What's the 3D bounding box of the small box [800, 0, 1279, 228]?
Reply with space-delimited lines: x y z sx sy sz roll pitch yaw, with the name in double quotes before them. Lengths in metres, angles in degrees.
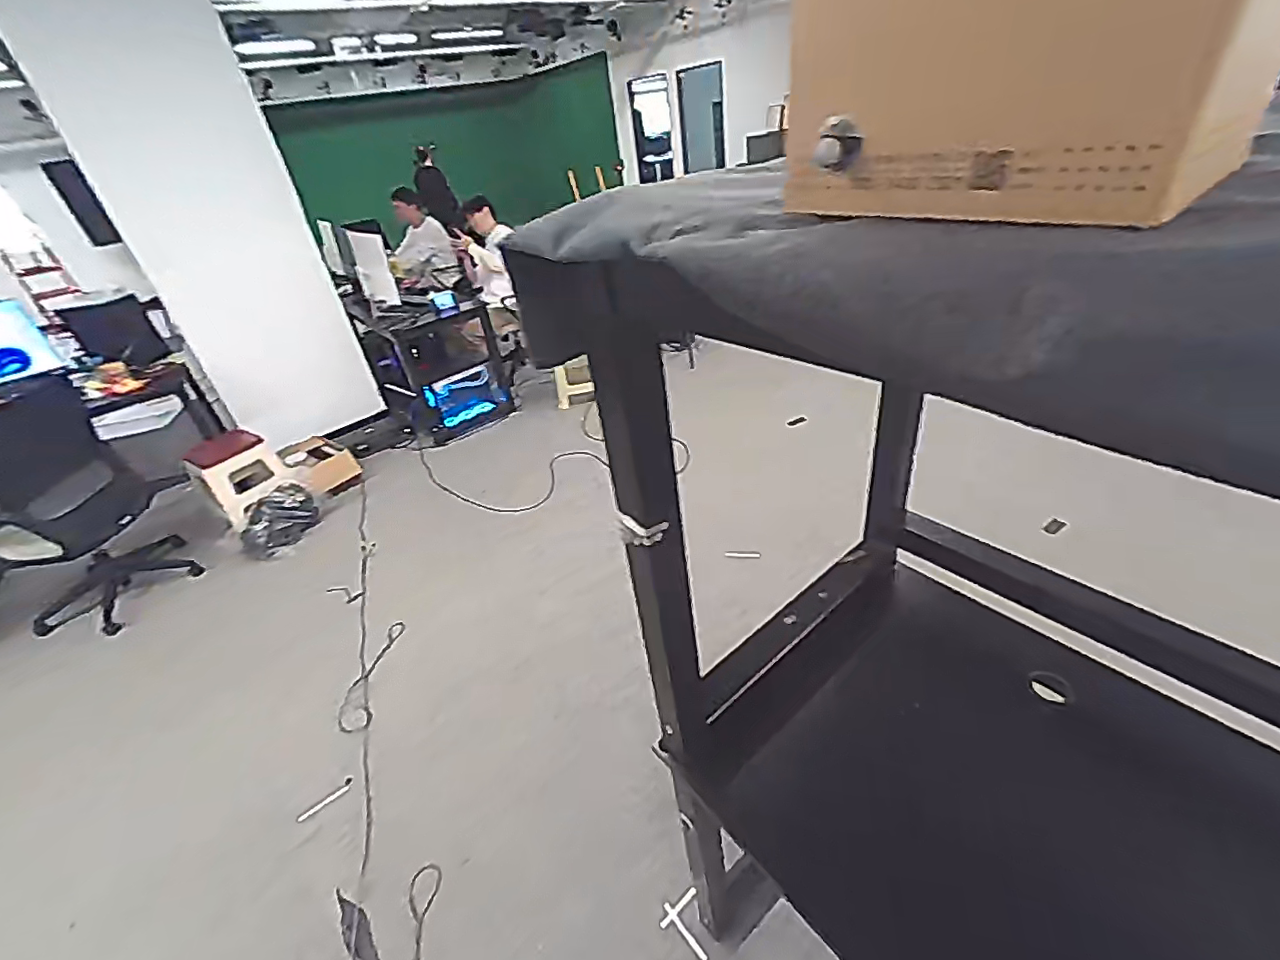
"small box" 0.190 -0.222 0.249 0.179 0.176 0.168 -29 40 -31
